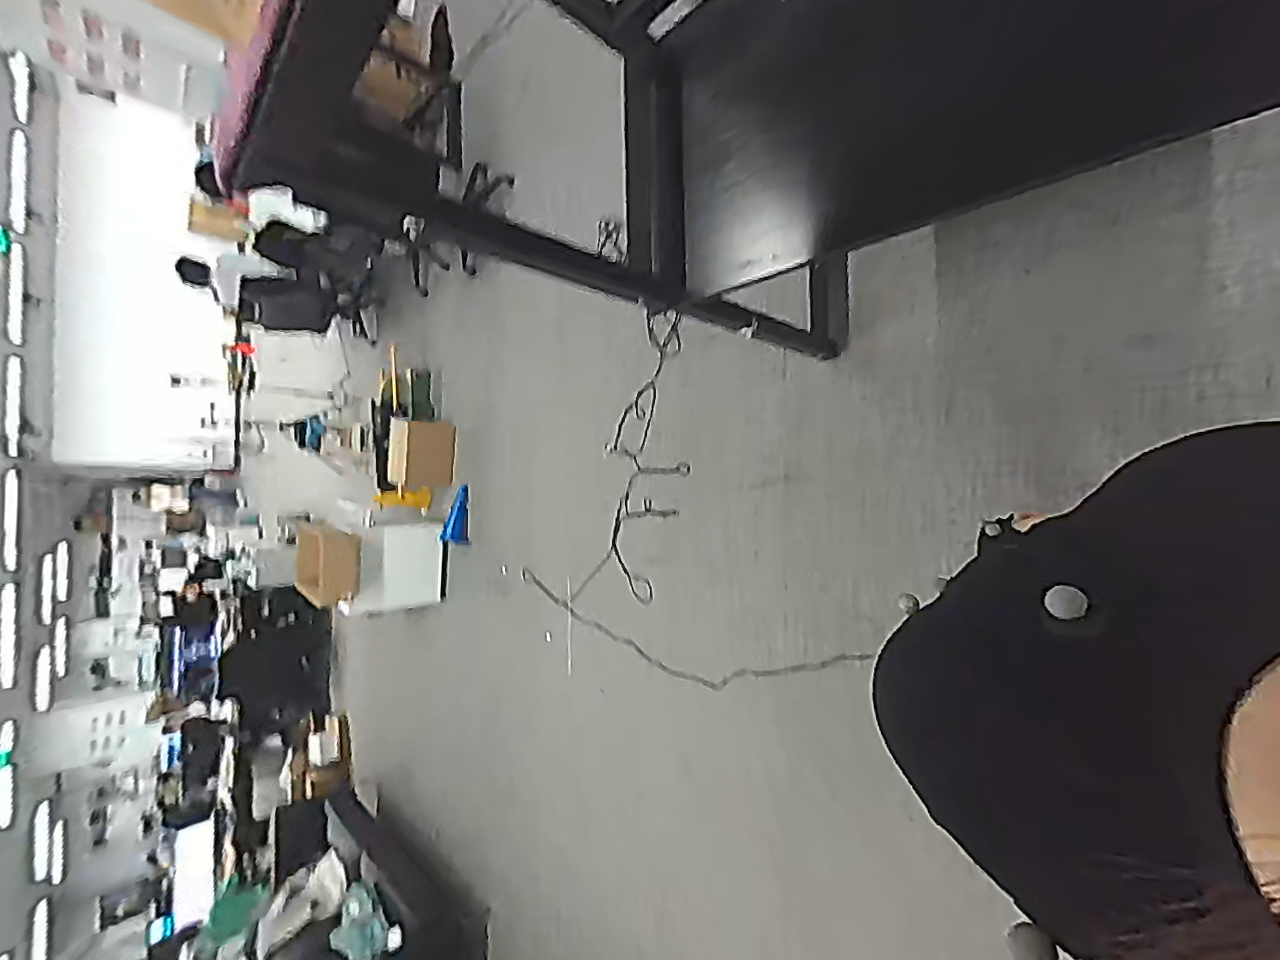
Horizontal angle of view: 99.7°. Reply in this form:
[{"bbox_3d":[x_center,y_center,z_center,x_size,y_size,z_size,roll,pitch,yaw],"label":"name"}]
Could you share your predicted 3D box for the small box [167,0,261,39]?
[{"bbox_3d":[-0.395,-0.525,0.433,0.168,0.176,0.179,-8,83,45],"label":"small box"}]
